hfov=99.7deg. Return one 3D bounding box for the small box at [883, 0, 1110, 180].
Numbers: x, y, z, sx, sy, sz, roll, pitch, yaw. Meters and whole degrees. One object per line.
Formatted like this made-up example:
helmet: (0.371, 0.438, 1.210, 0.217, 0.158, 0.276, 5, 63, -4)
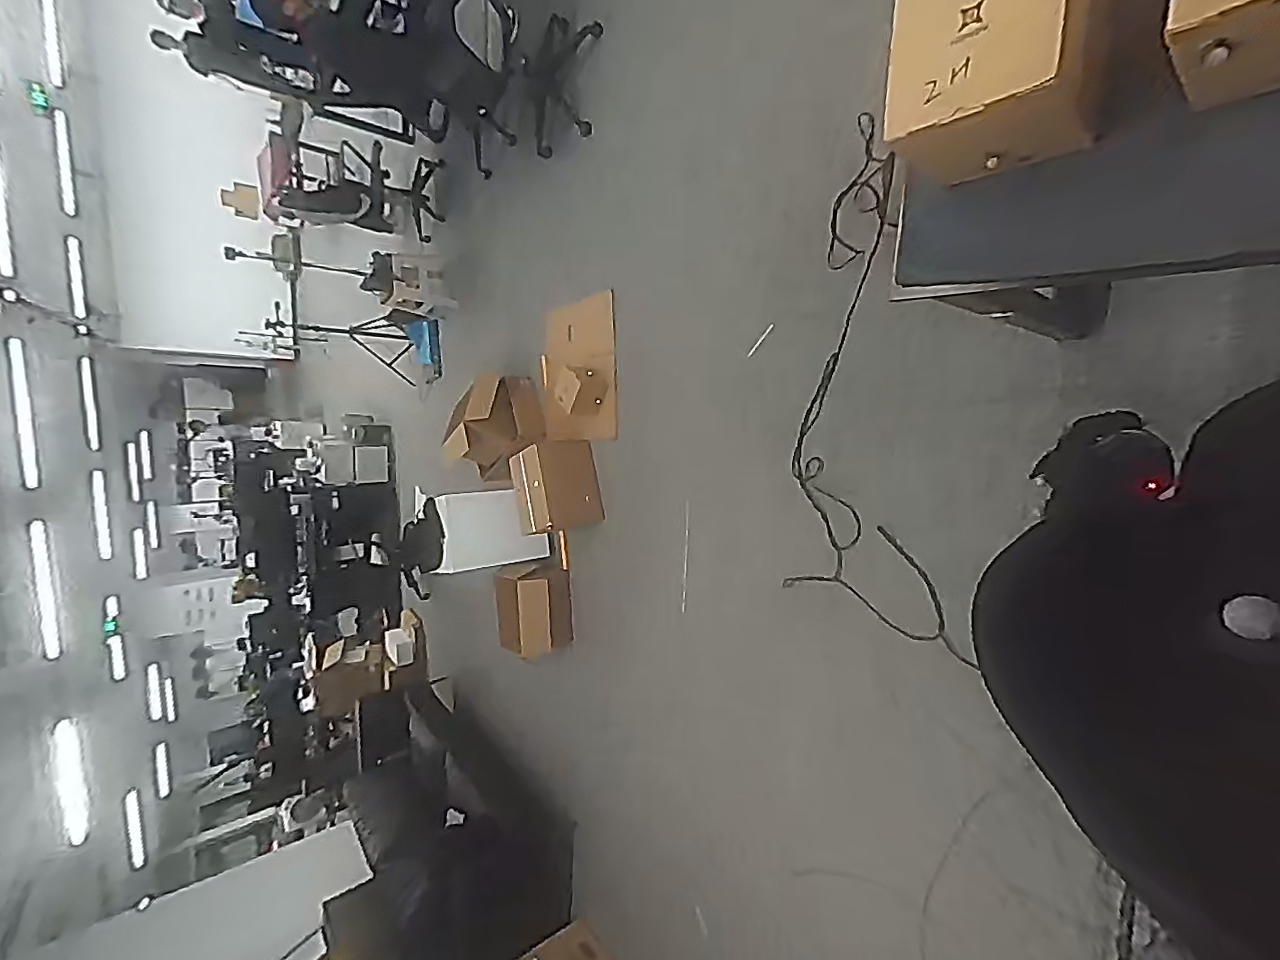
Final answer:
small box: (0.397, -0.471, 0.603, 0.168, 0.176, 0.179, 10, 100, 49)
